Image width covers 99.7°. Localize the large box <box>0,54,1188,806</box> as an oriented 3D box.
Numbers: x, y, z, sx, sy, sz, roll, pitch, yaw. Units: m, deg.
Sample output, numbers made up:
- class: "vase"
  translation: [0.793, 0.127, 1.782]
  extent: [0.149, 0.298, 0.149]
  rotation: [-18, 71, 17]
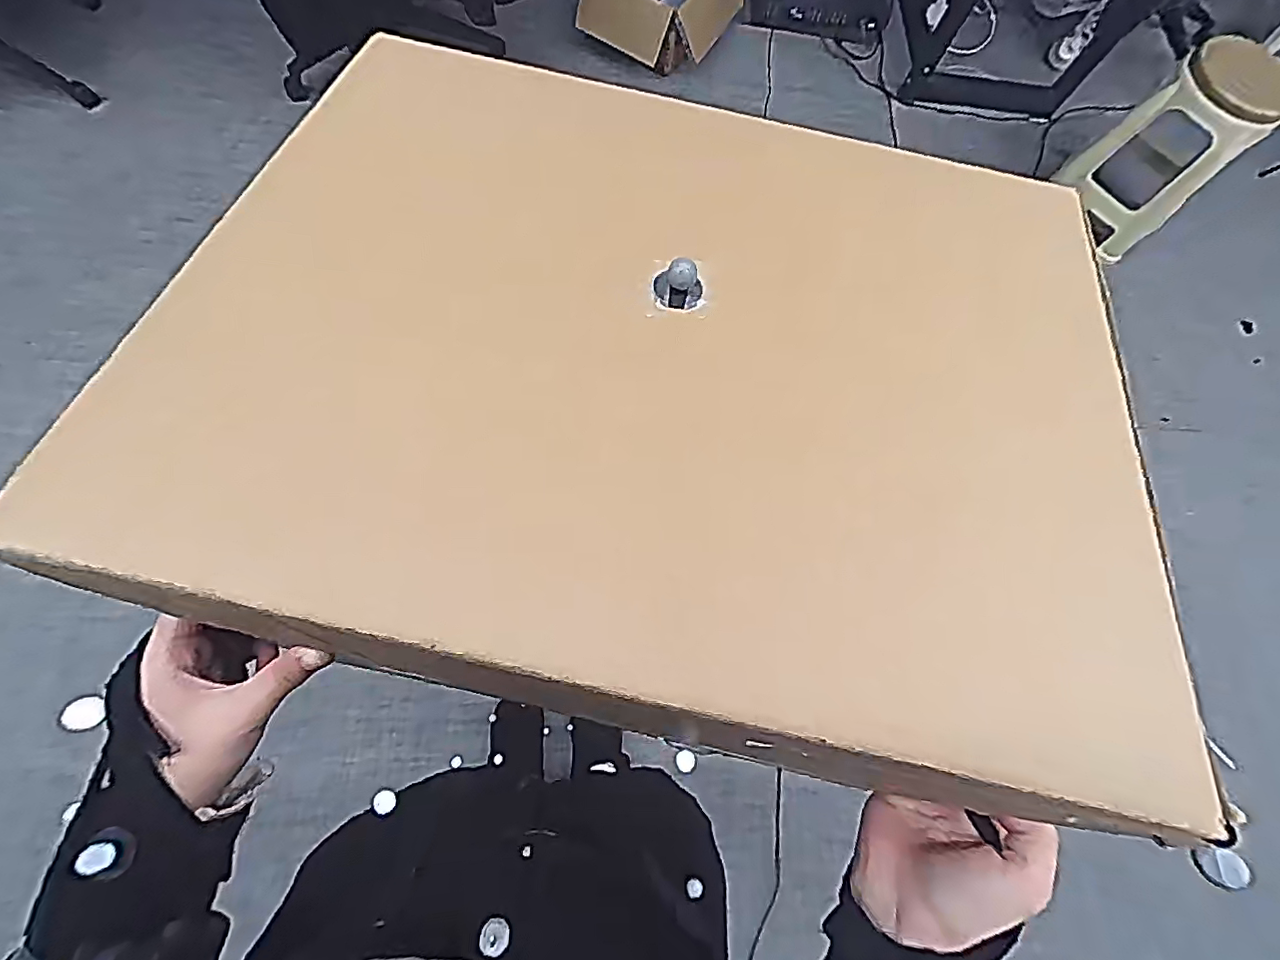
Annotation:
- class: "large box"
  translation: [-0.010, -0.012, 0.367]
  extent: [0.408, 0.320, 0.320]
  rotation: [12, 66, 2]
